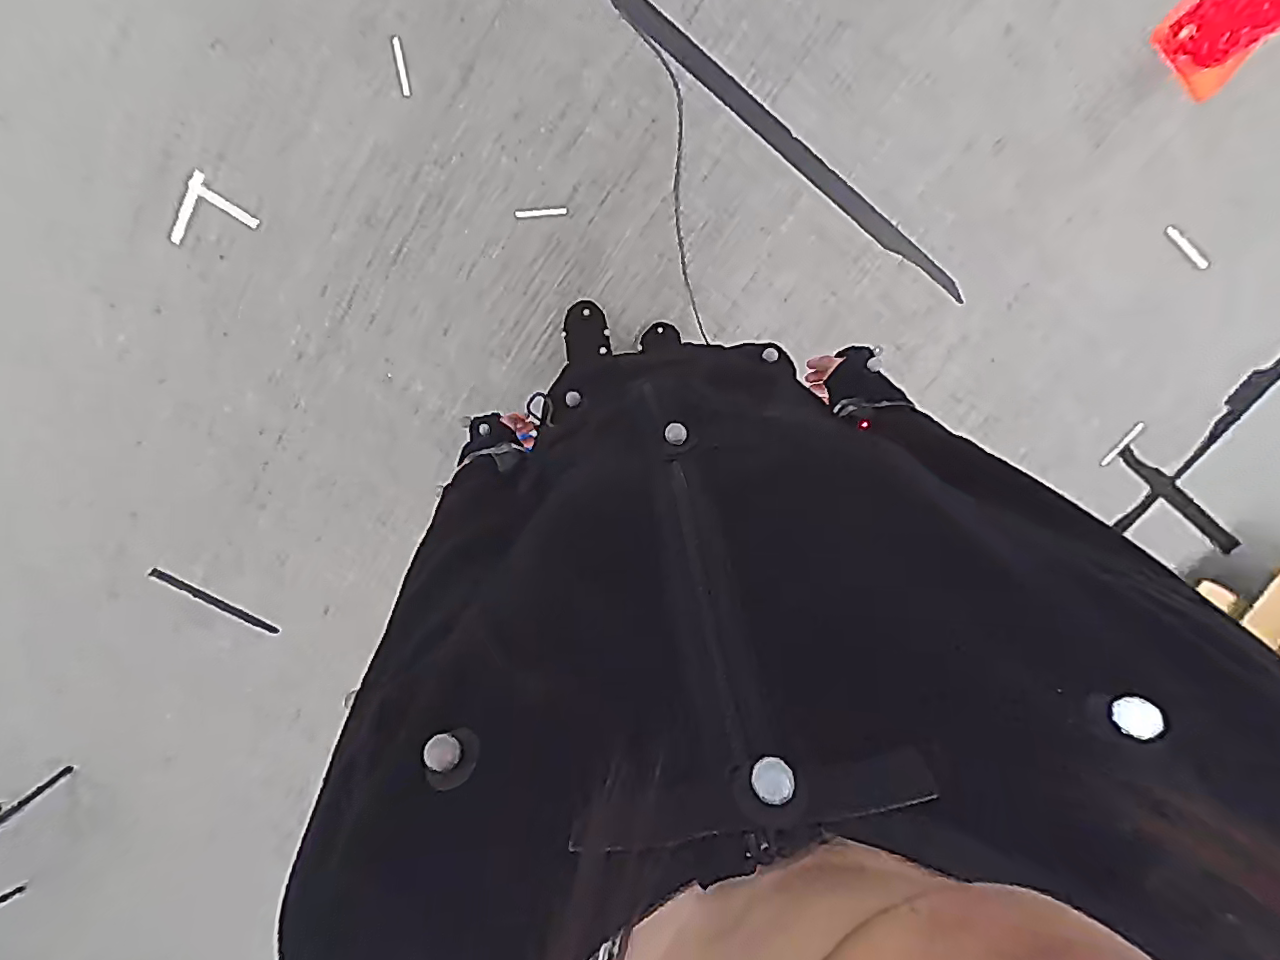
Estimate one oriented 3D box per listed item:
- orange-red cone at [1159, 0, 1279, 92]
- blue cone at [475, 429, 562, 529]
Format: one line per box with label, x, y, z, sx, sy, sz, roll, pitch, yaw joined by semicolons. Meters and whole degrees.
orange-red cone;1.240;-0.920;0.991;0.199;0.360;0.198;37;104;-13
blue cone;-0.316;0.033;1.276;0.192;0.380;0.193;38;103;-12
